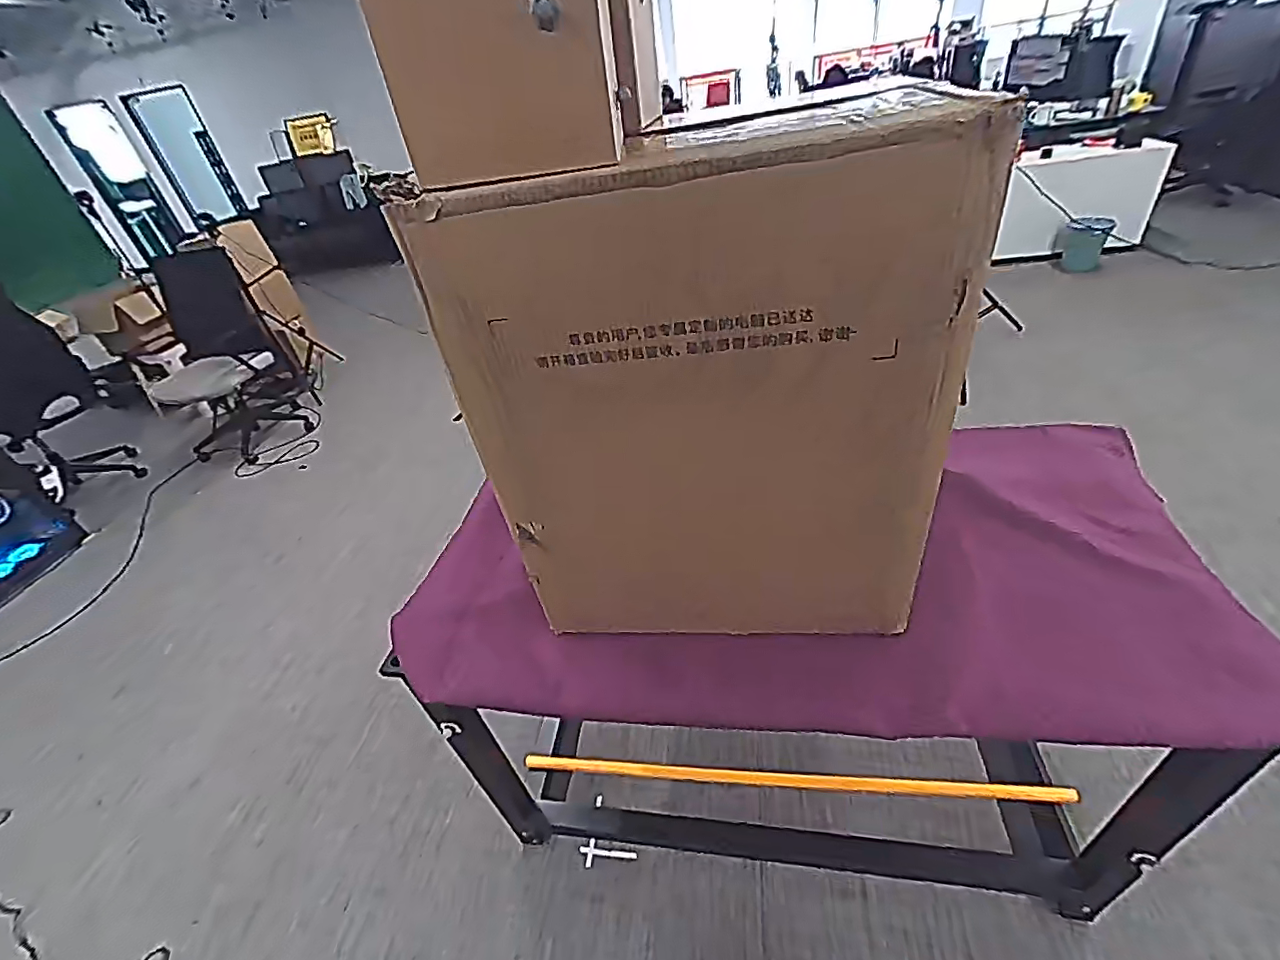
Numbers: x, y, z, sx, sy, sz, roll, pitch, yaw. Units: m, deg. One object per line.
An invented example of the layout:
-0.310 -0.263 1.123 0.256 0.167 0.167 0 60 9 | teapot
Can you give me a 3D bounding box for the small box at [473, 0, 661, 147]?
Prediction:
-0.072 -0.508 0.643 0.168 0.176 0.179 1 38 12 | small box
